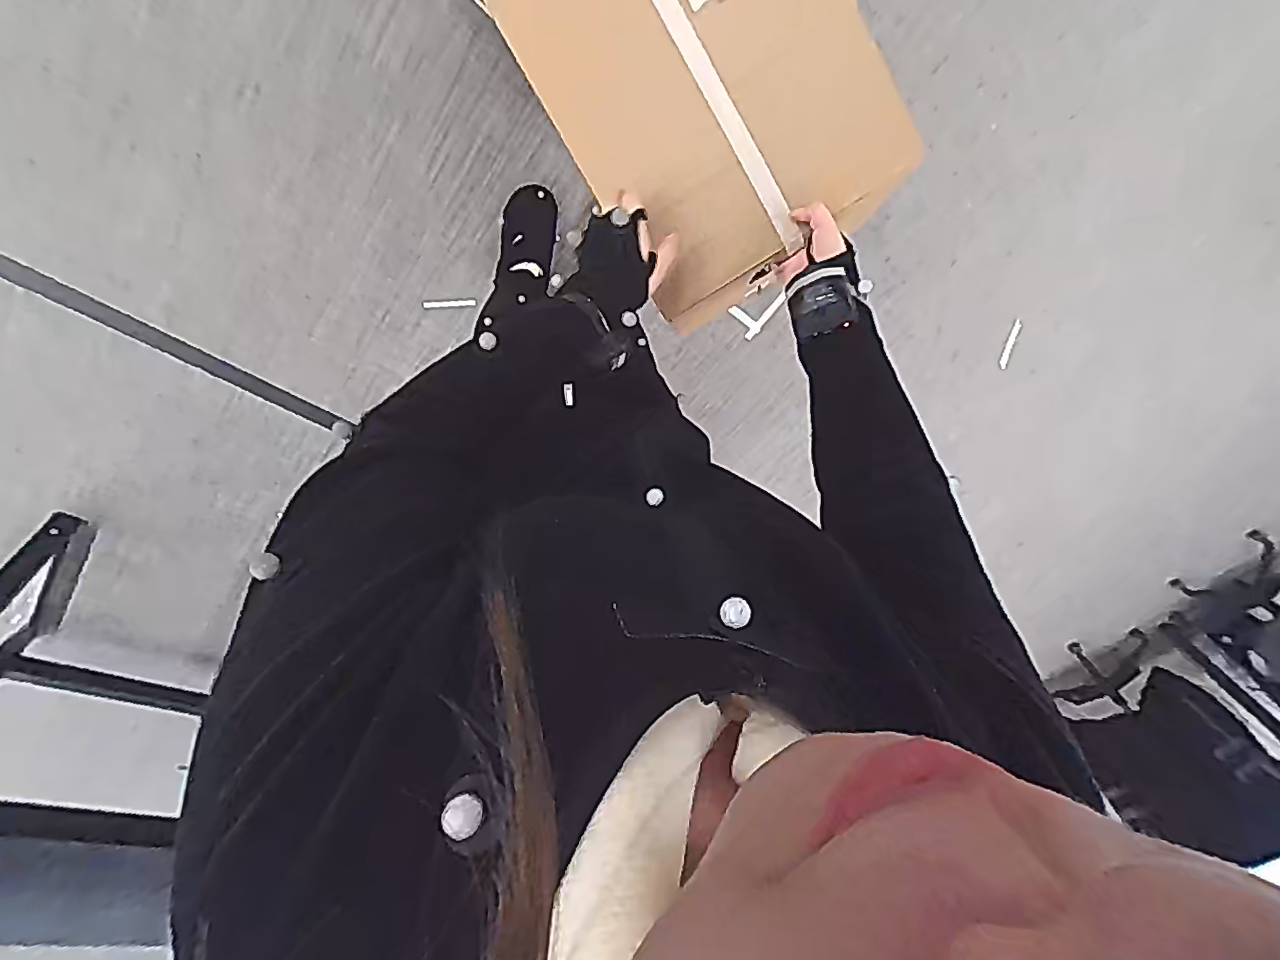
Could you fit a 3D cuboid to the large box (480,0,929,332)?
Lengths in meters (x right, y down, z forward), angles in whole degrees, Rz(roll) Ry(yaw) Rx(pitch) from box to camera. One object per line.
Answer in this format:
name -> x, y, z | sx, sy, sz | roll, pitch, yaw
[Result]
large box -> 0.083, -0.452, 0.699 | 0.320, 0.320, 0.408 | -30, 96, 12
